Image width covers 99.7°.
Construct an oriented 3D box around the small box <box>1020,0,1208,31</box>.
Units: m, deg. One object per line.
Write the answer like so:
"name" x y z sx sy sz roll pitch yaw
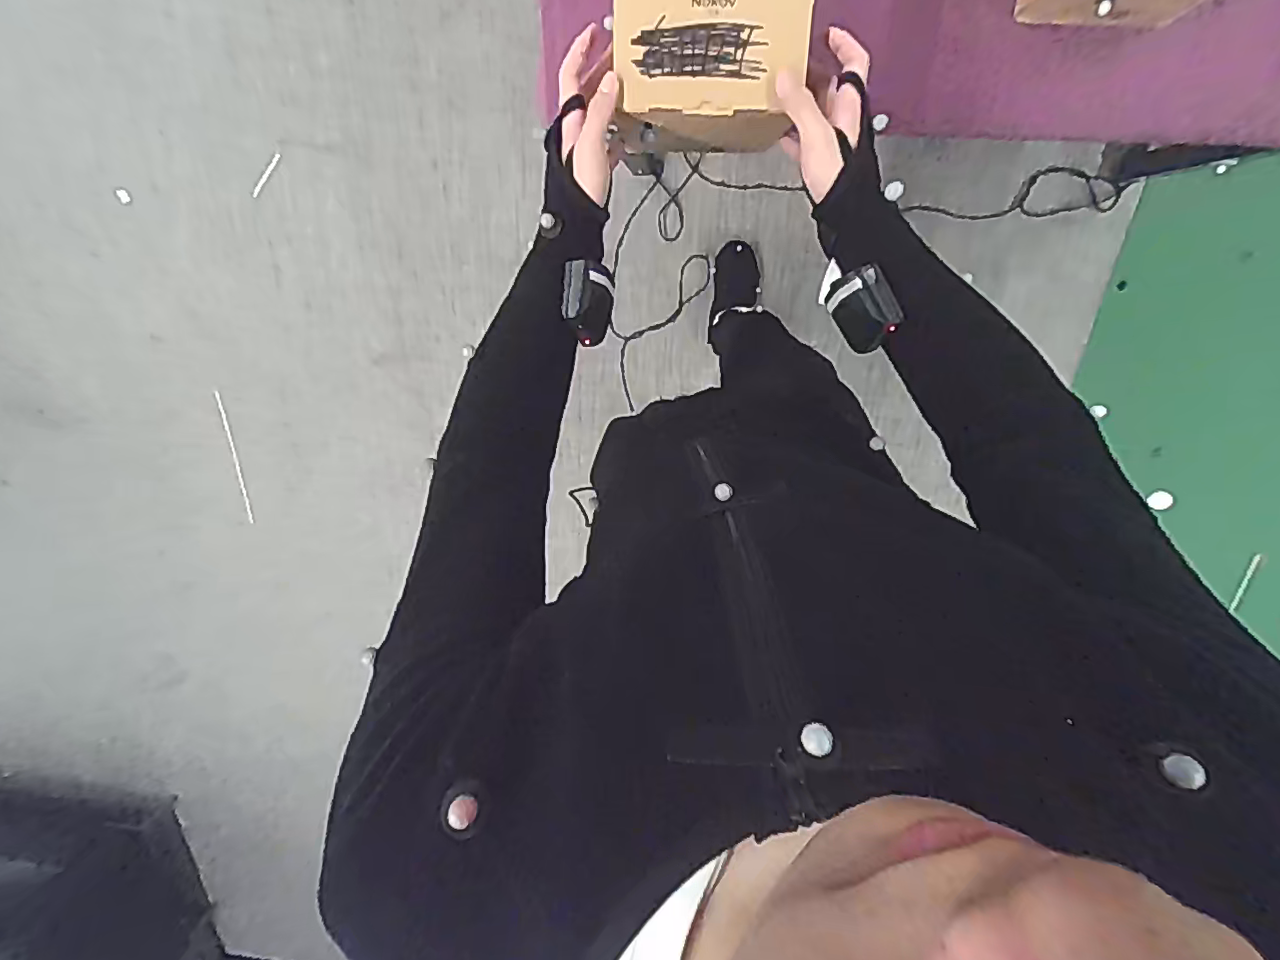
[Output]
"small box" 0.507 -0.573 0.514 0.168 0.176 0.179 6 111 4
